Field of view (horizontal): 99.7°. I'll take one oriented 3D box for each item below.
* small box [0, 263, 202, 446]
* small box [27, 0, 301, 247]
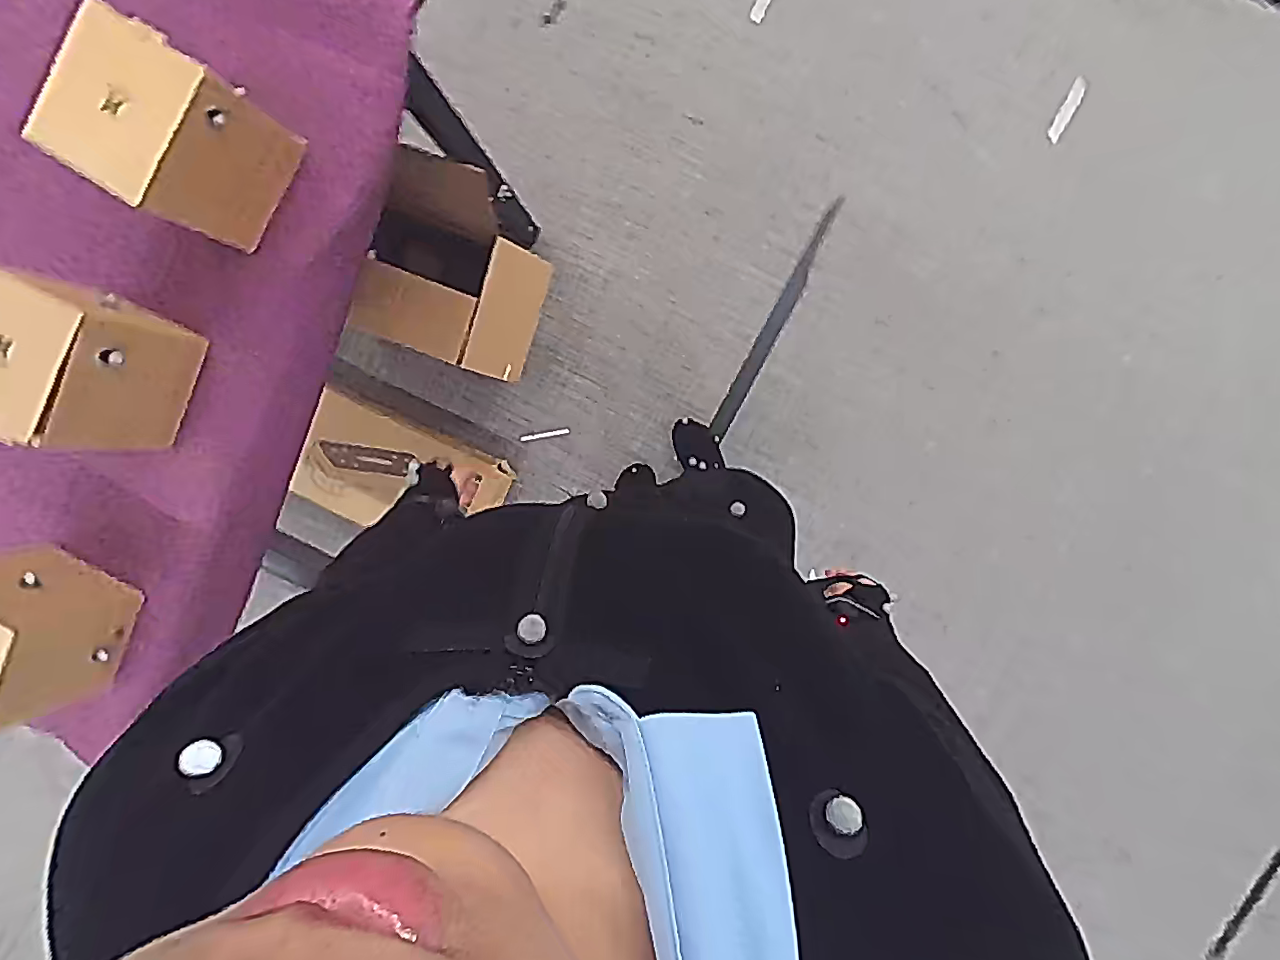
[{"bbox_3d":[-0.737,-0.156,0.714,0.168,0.176,0.179,26,95,5],"label":"small box"},{"bbox_3d":[-0.580,-0.432,0.684,0.168,0.176,0.179,33,95,2],"label":"small box"}]
